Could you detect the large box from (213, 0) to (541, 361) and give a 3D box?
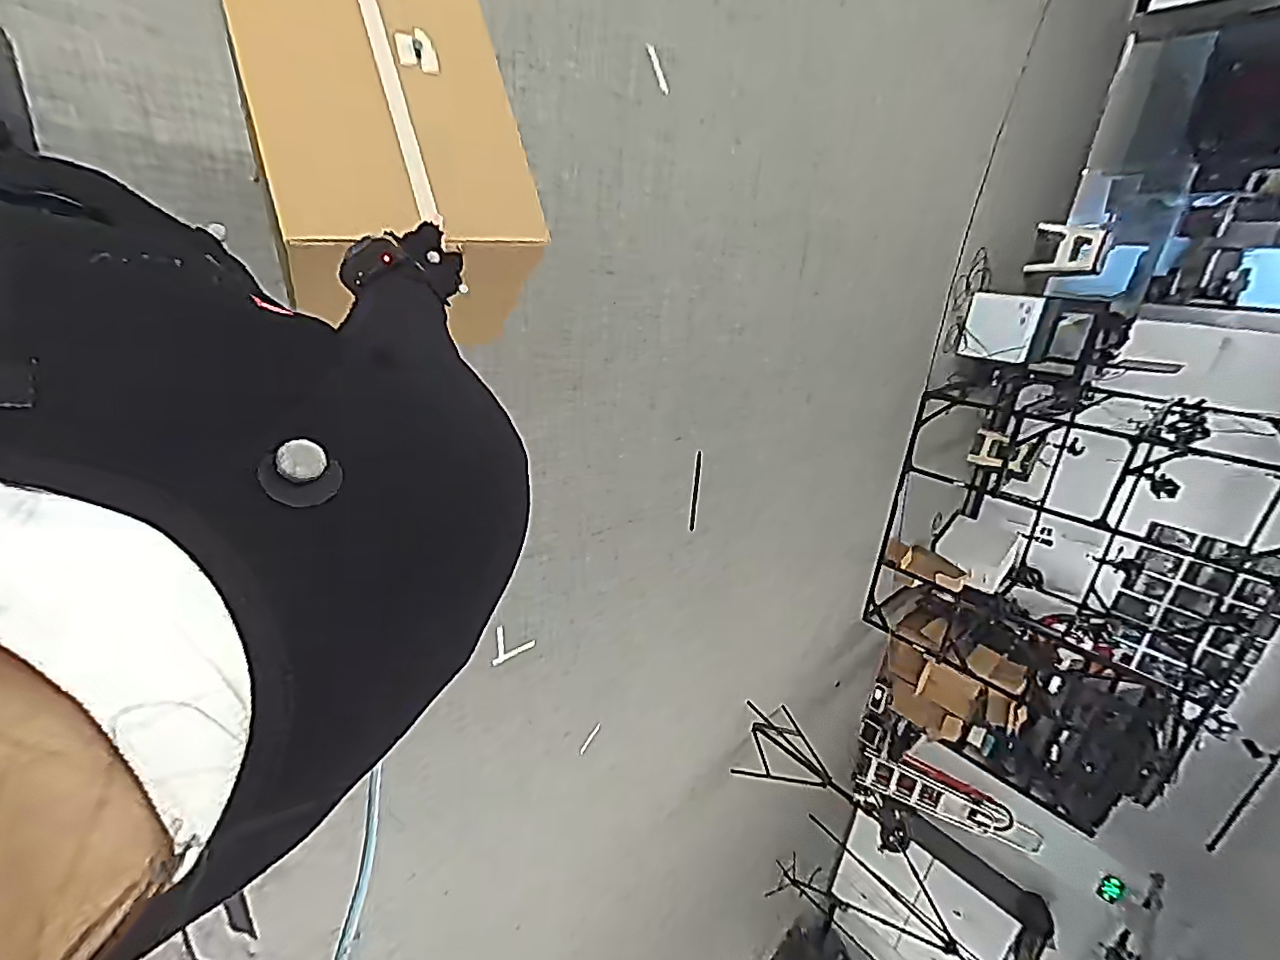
[{"bbox_3d":[-0.393,-0.442,0.819,0.320,0.320,0.408,-15,83,-32],"label":"large box"}]
